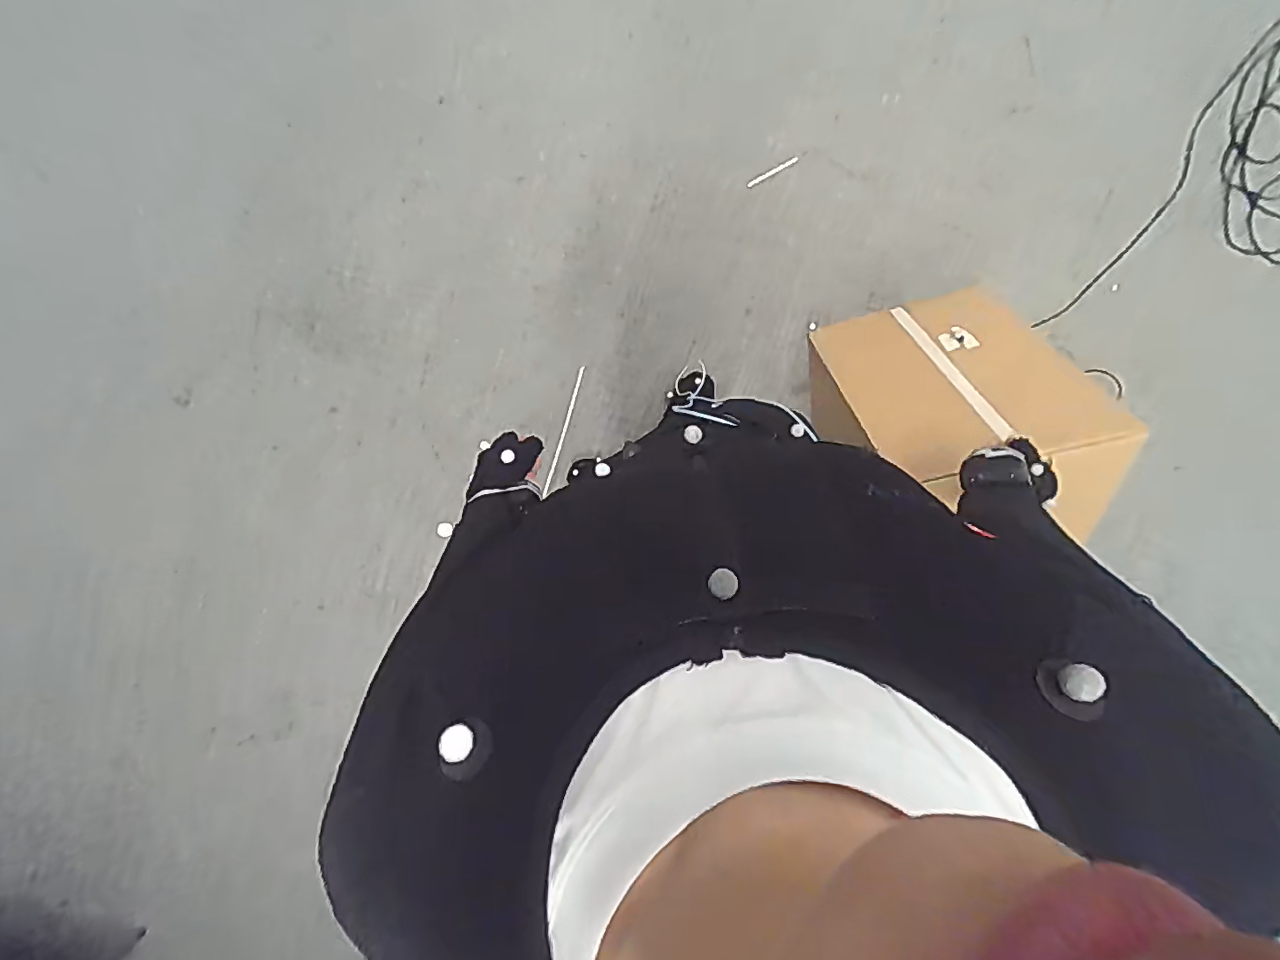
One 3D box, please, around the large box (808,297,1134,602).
[{"bbox_3d":[0.513,-0.057,0.955,0.320,0.408,0.320,-12,134,6],"label":"large box"}]
